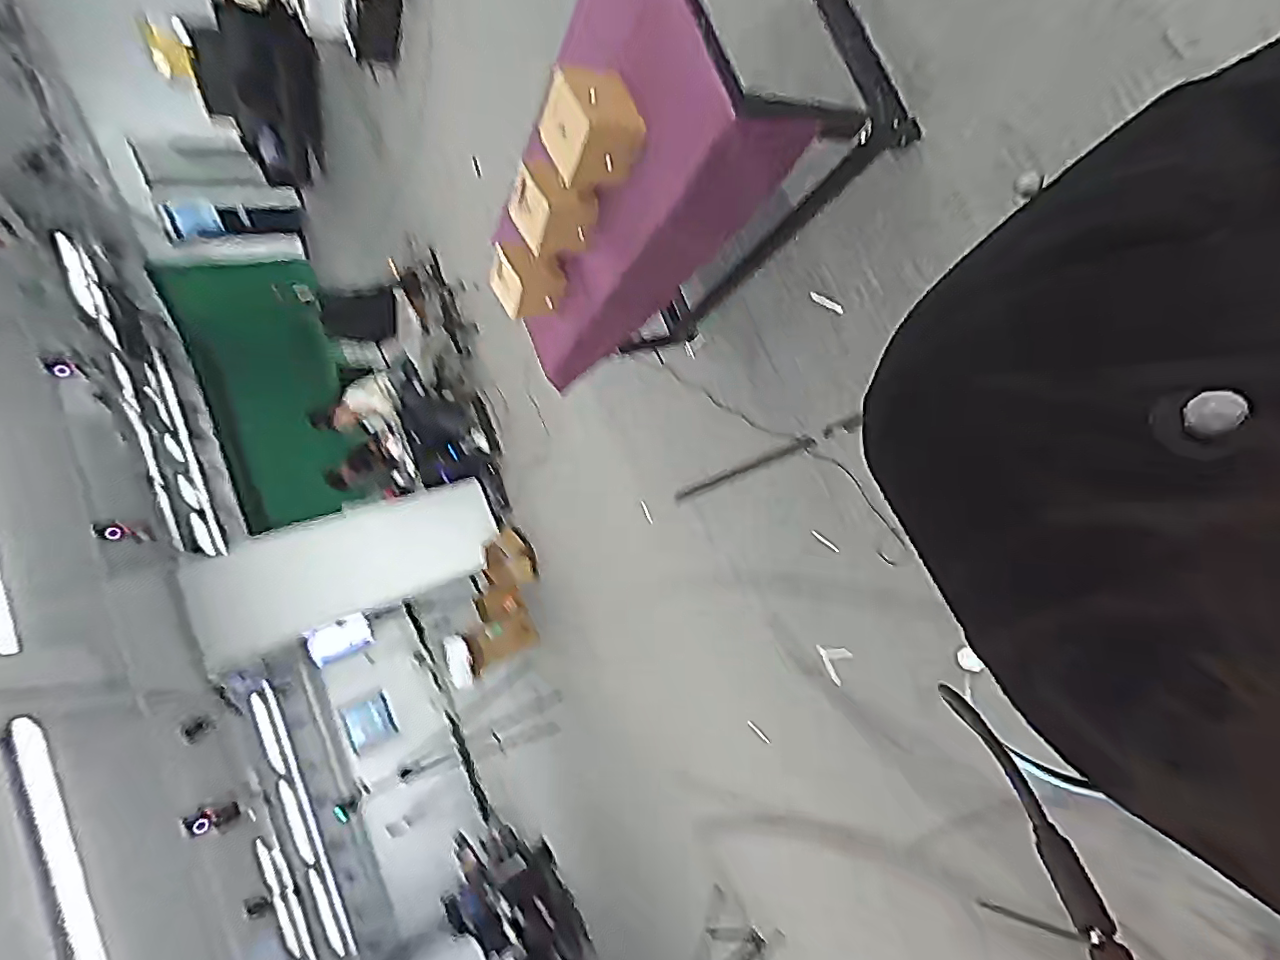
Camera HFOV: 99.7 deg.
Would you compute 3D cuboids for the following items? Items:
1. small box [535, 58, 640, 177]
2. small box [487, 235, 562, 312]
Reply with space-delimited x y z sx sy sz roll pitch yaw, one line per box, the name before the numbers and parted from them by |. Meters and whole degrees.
small box | -0.125 -0.866 1.304 0.168 0.176 0.179 -40 73 56
small box | -0.382 -0.682 1.782 0.179 0.176 0.168 60 146 15
